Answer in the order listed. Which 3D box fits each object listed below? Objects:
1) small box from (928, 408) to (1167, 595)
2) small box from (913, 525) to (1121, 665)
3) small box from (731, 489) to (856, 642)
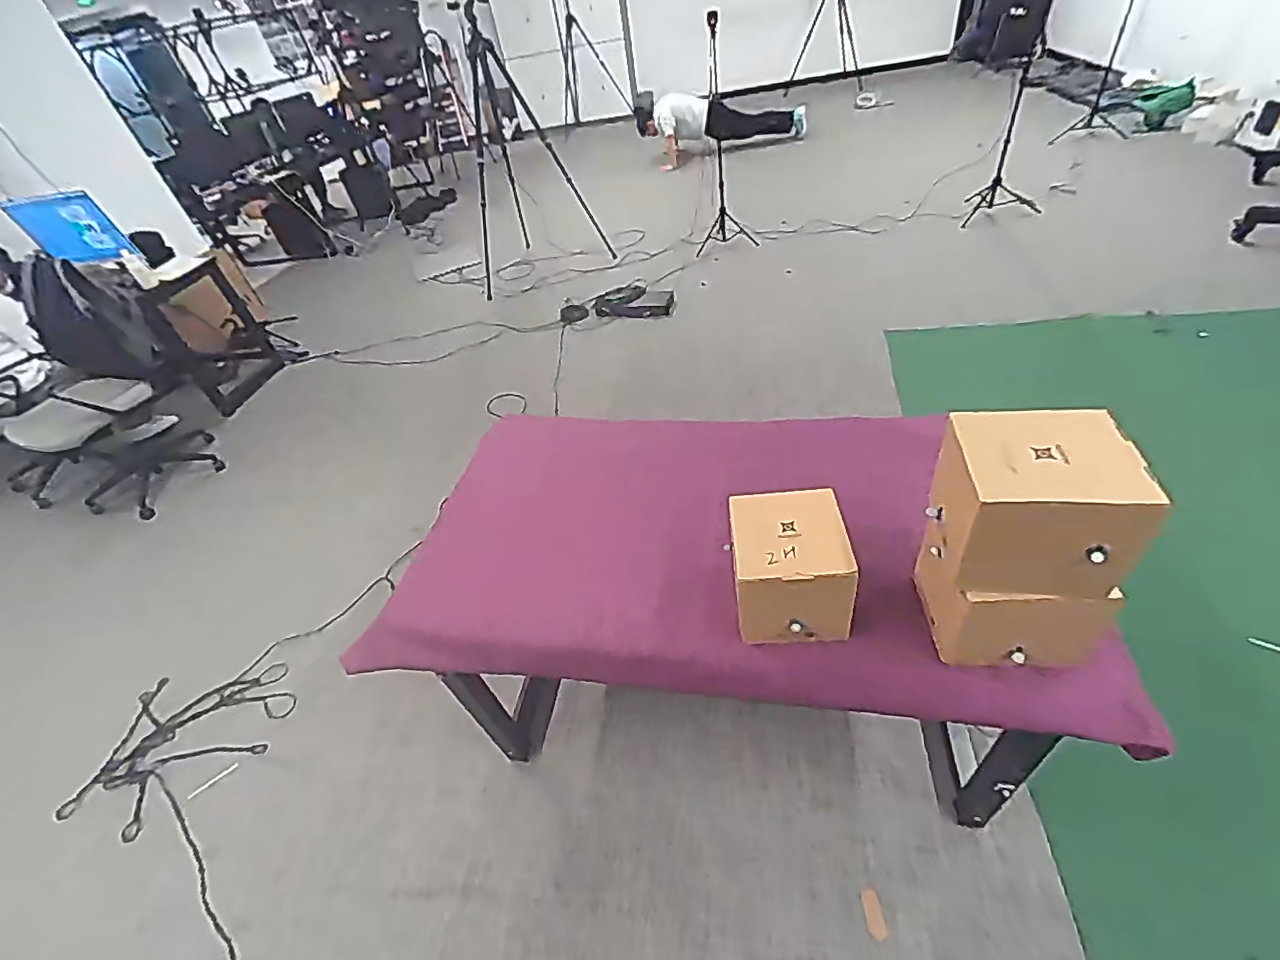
[{"bbox_3d":[0.482,0.028,0.676,0.179,0.176,0.168,0,44,16],"label":"small box"},{"bbox_3d":[0.519,0.151,0.778,0.179,0.176,0.168,-3,43,10],"label":"small box"},{"bbox_3d":[0.235,0.137,0.864,0.168,0.176,0.179,-5,42,9],"label":"small box"}]
